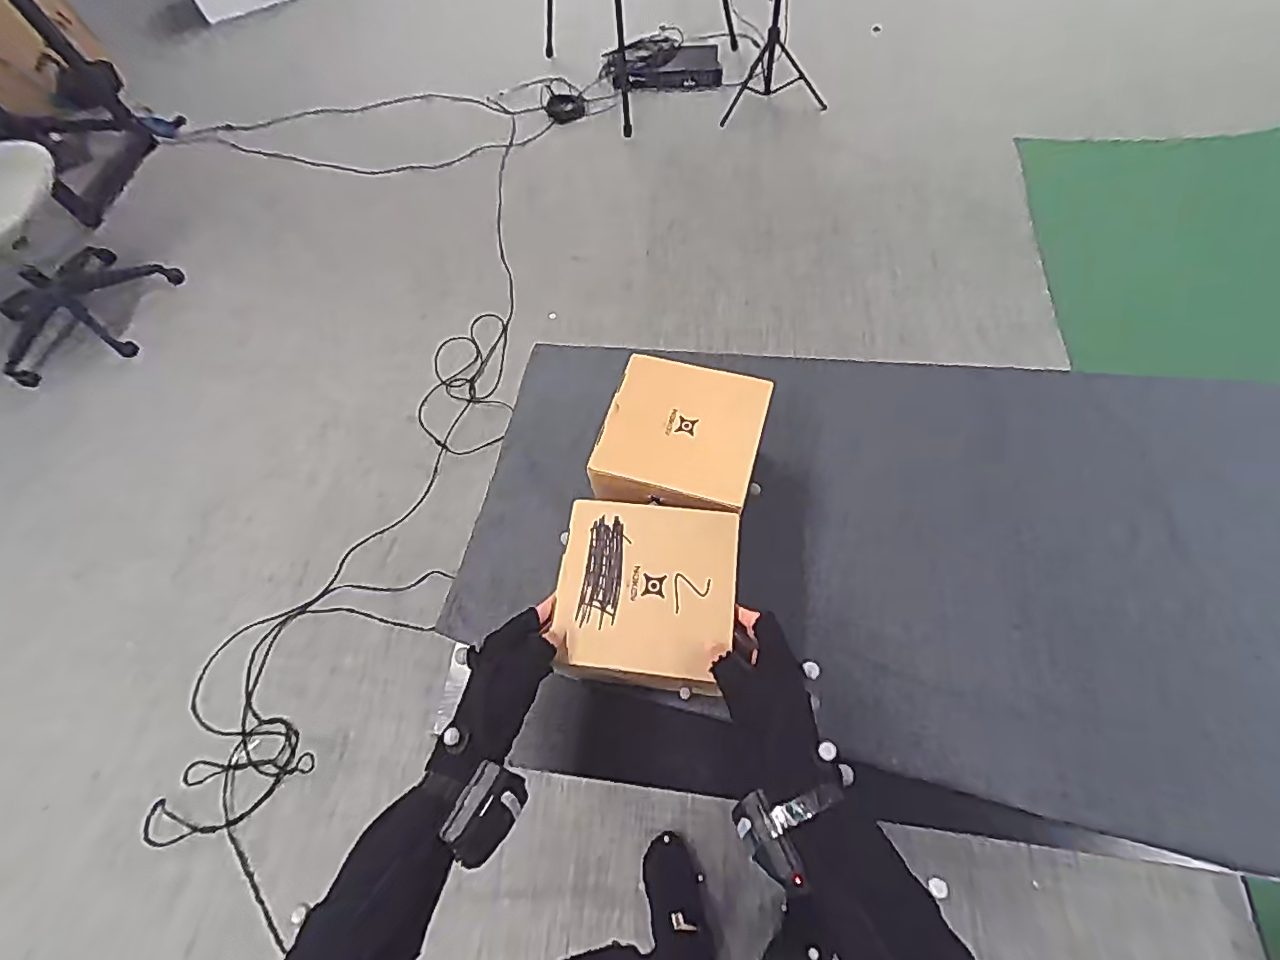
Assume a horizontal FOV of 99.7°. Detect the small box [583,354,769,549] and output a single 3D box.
[{"bbox_3d":[0.049,-0.027,0.676,0.179,0.176,0.168,14,66,12],"label":"small box"}]
